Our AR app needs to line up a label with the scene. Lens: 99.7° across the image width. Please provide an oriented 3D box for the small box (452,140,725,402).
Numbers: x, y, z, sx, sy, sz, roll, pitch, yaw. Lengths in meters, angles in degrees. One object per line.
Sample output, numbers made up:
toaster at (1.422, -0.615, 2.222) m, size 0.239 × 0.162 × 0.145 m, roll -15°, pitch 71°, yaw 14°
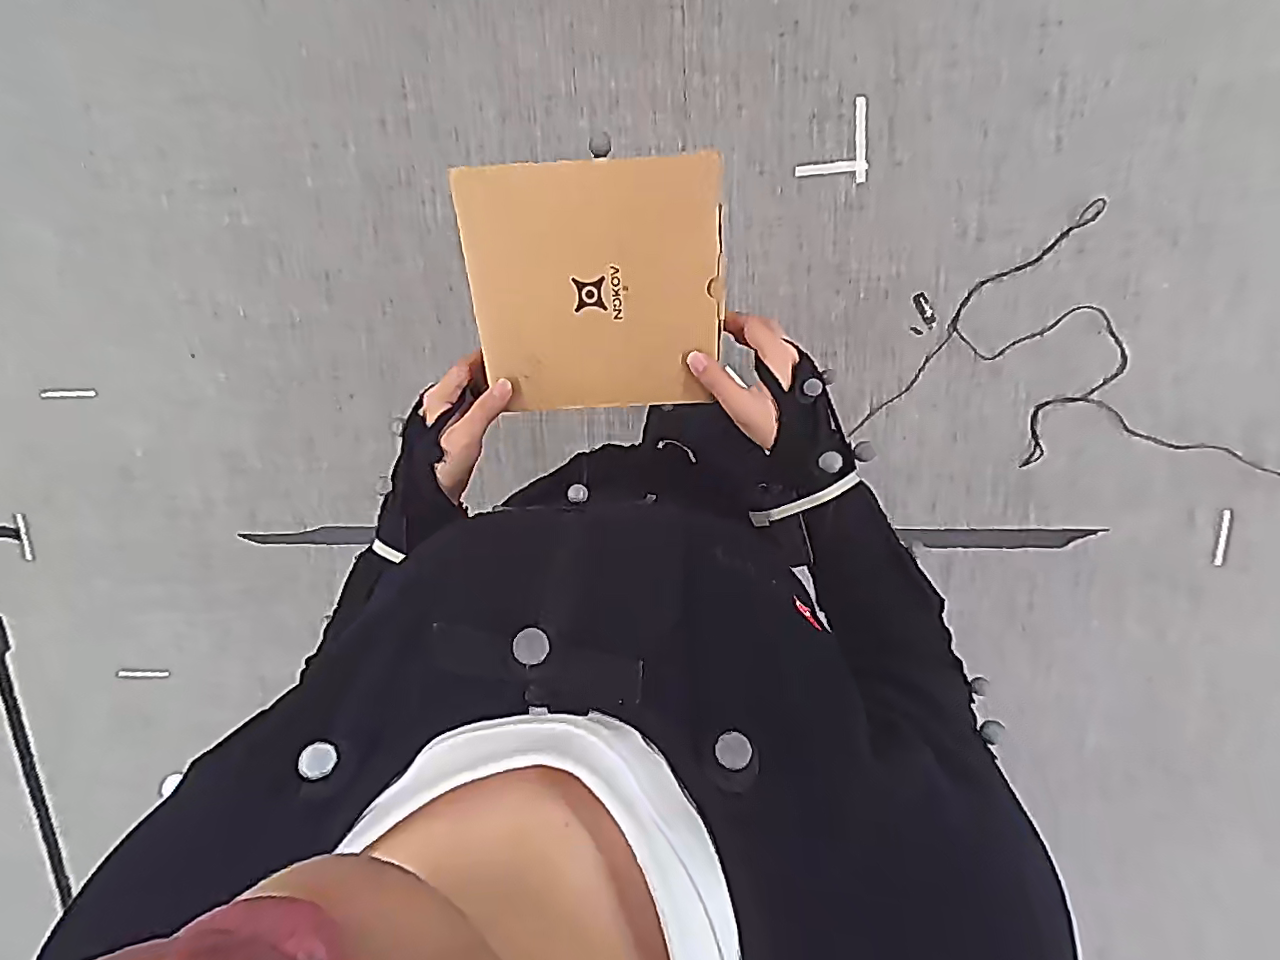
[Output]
small box at (-0.029, -0.170, 0.444) m, size 0.179 × 0.176 × 0.168 m, roll -3°, pitch 116°, yaw 1°
